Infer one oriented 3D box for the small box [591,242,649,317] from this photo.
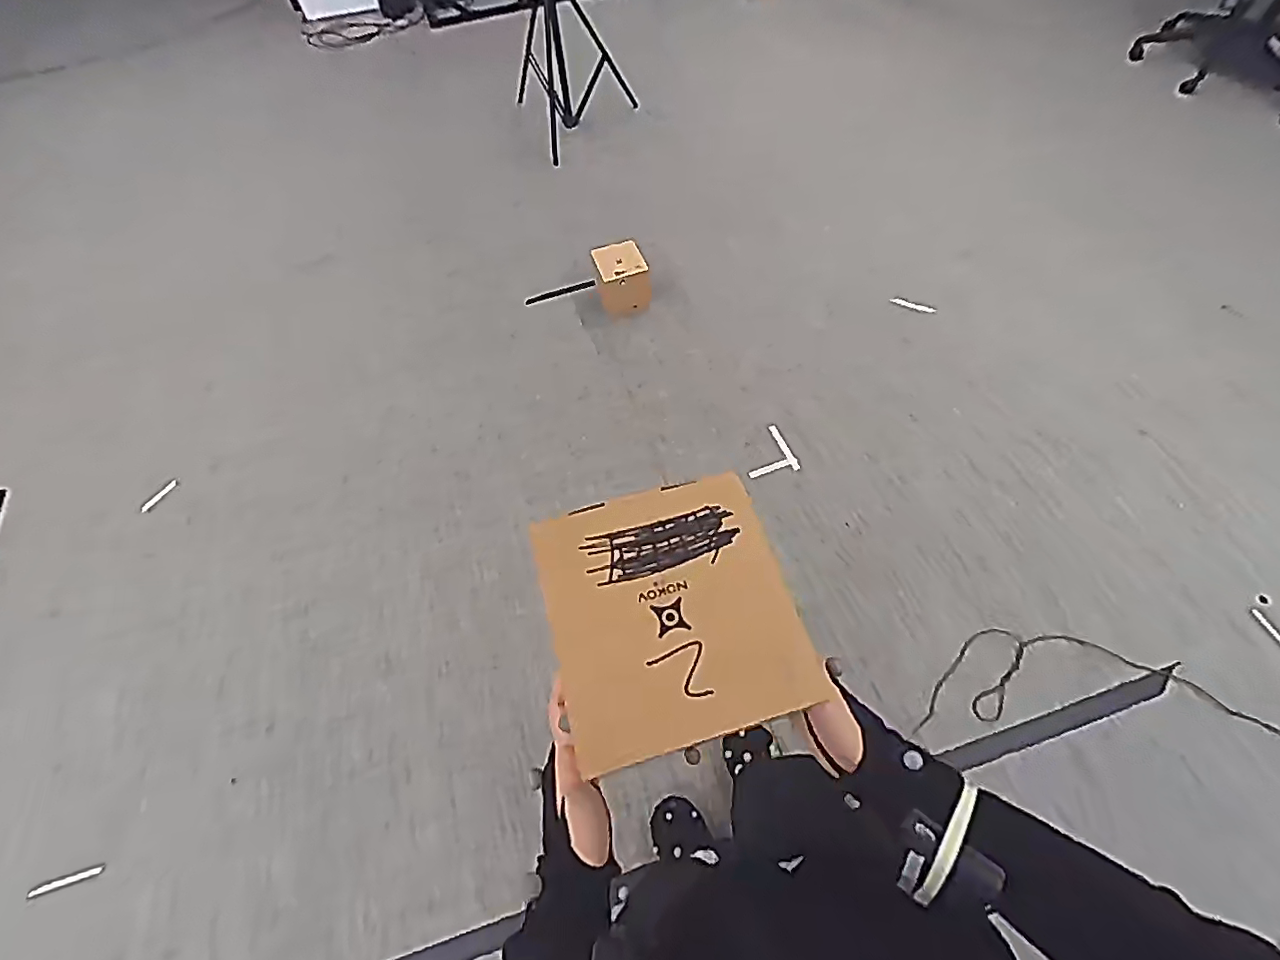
[{"bbox_3d":[-0.072,-0.728,1.971,0.168,0.176,0.179,-19,60,-7],"label":"small box"}]
